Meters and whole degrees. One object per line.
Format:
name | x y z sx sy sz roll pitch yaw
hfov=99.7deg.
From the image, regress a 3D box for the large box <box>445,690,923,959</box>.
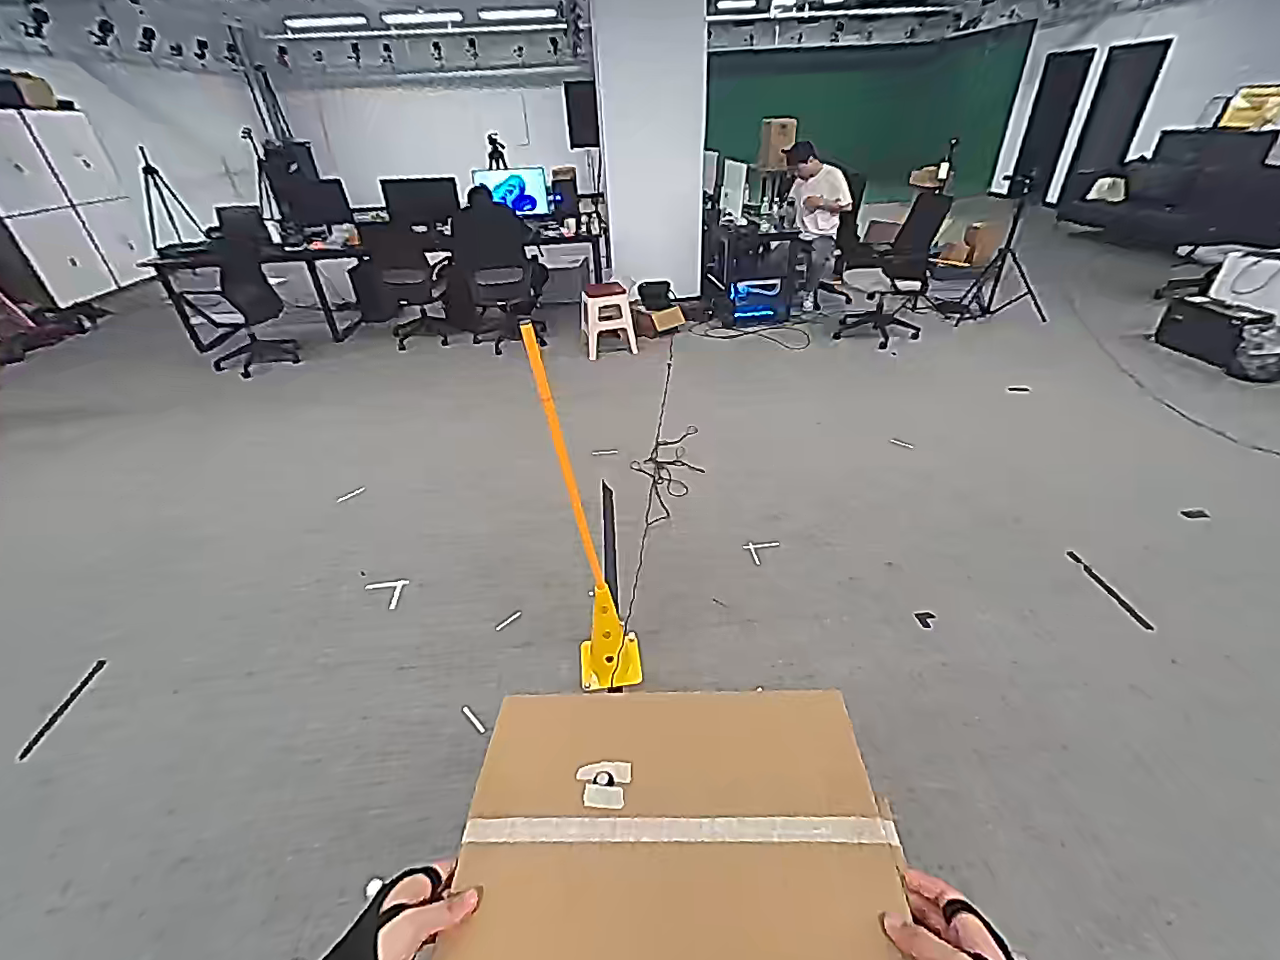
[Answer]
large box | 0.050 0.470 0.604 0.408 0.320 0.320 -4 31 6
